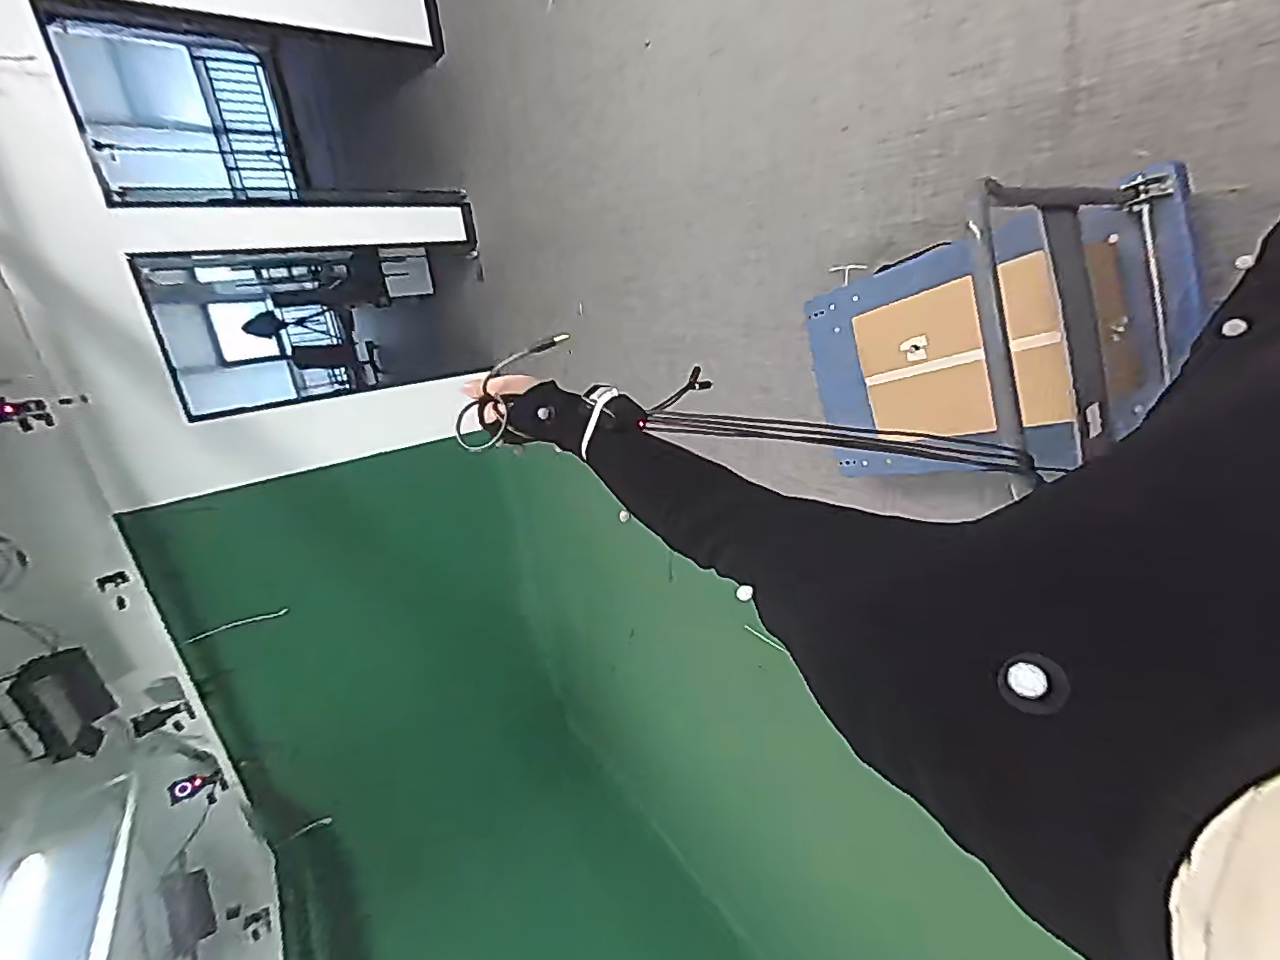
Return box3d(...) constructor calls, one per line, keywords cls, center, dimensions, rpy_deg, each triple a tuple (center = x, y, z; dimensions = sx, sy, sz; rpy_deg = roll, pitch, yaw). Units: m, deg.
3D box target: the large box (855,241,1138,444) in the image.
box3d(cls="large box", center=(0.767, -0.285, 1.193), dimensions=(0.408, 0.320, 0.320), rpy_deg=(-6, 100, 58))
